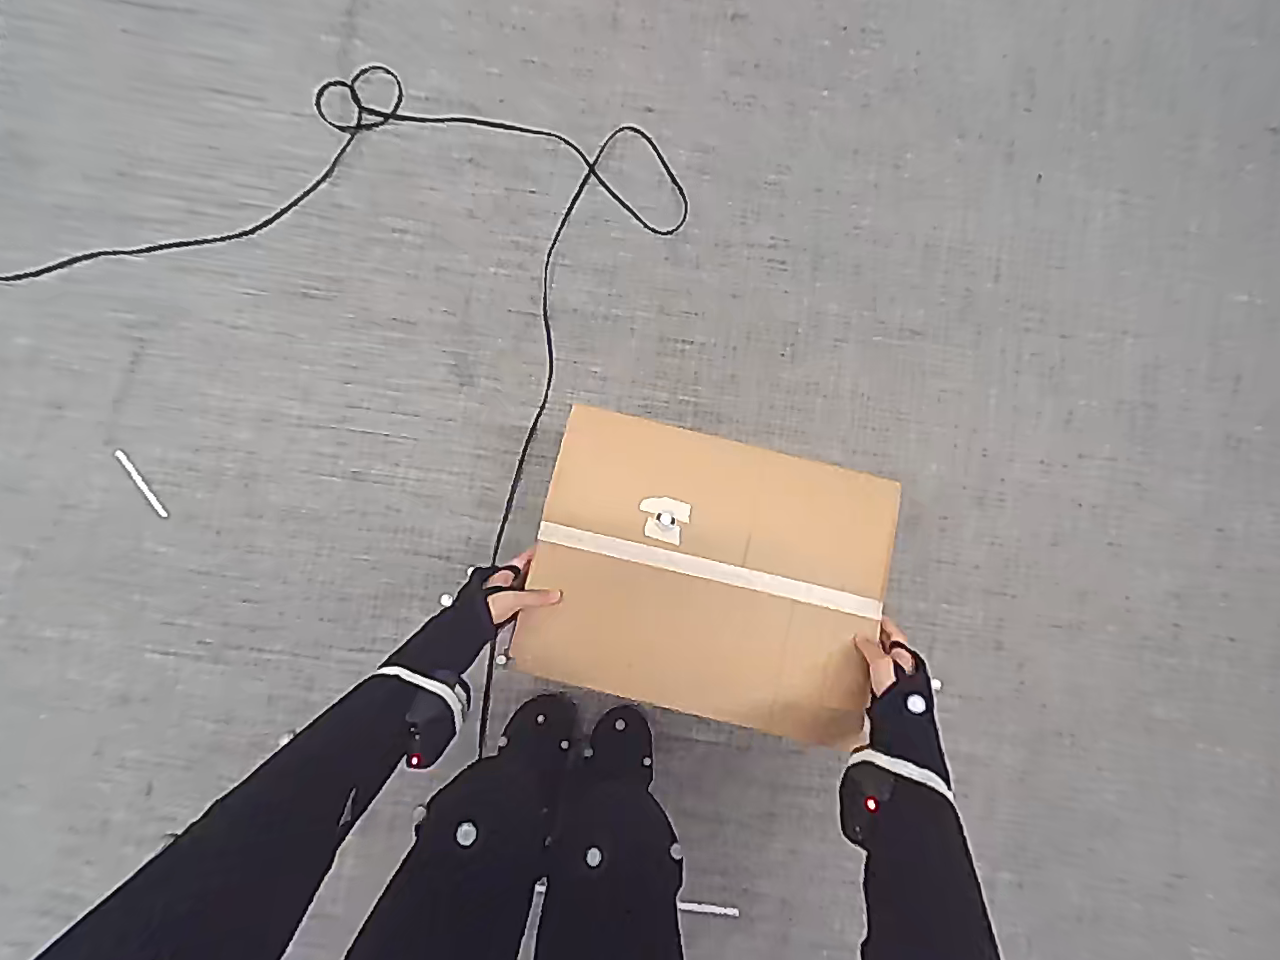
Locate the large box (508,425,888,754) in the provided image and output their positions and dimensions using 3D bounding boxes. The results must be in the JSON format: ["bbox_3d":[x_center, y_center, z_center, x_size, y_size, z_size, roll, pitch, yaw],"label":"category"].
[{"bbox_3d":[0.074,0.144,0.778,0.408,0.320,0.320,14,80,0],"label":"large box"}]
